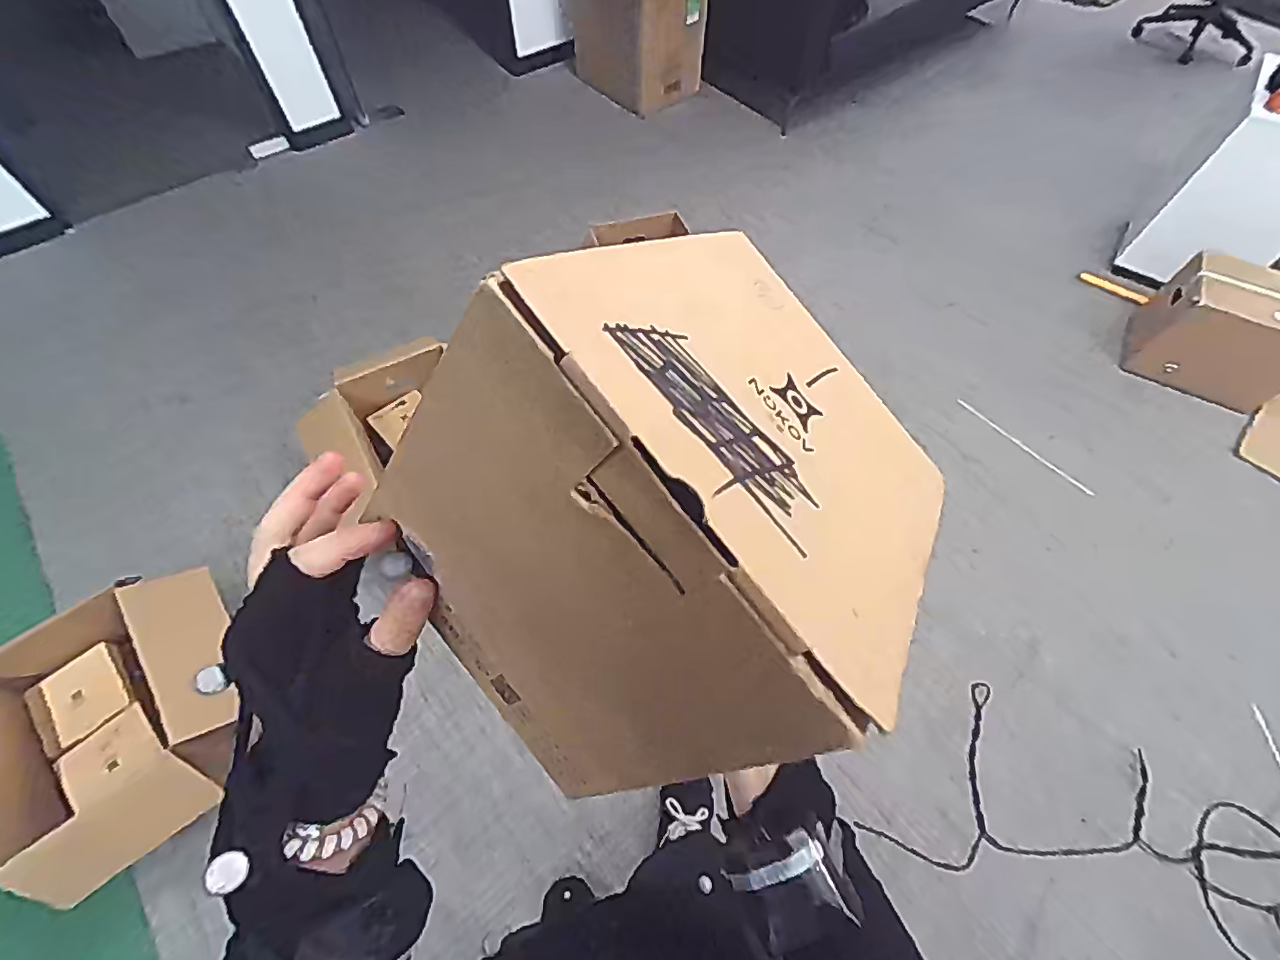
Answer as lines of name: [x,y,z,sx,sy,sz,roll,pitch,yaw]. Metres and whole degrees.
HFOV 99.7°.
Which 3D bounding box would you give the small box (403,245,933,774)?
small box: [0.008,0.013,0.271,0.168,0.176,0.179,51,41,2]
